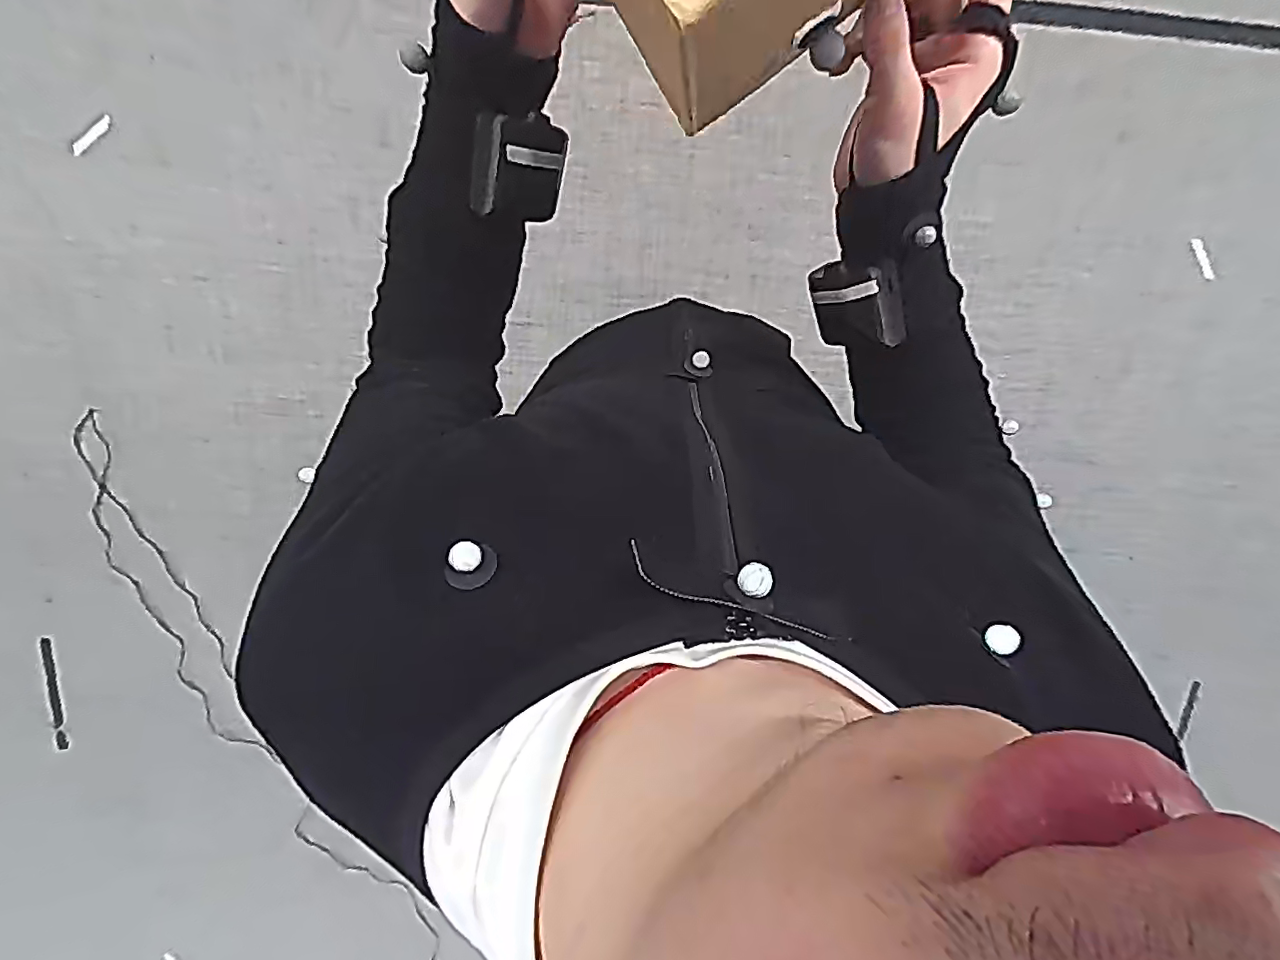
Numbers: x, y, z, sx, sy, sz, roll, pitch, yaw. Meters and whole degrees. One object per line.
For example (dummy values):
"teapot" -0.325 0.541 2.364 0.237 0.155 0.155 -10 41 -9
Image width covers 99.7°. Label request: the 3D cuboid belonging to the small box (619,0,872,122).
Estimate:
"small box" 0.041 -0.276 0.197 0.168 0.176 0.179 -32 106 19
